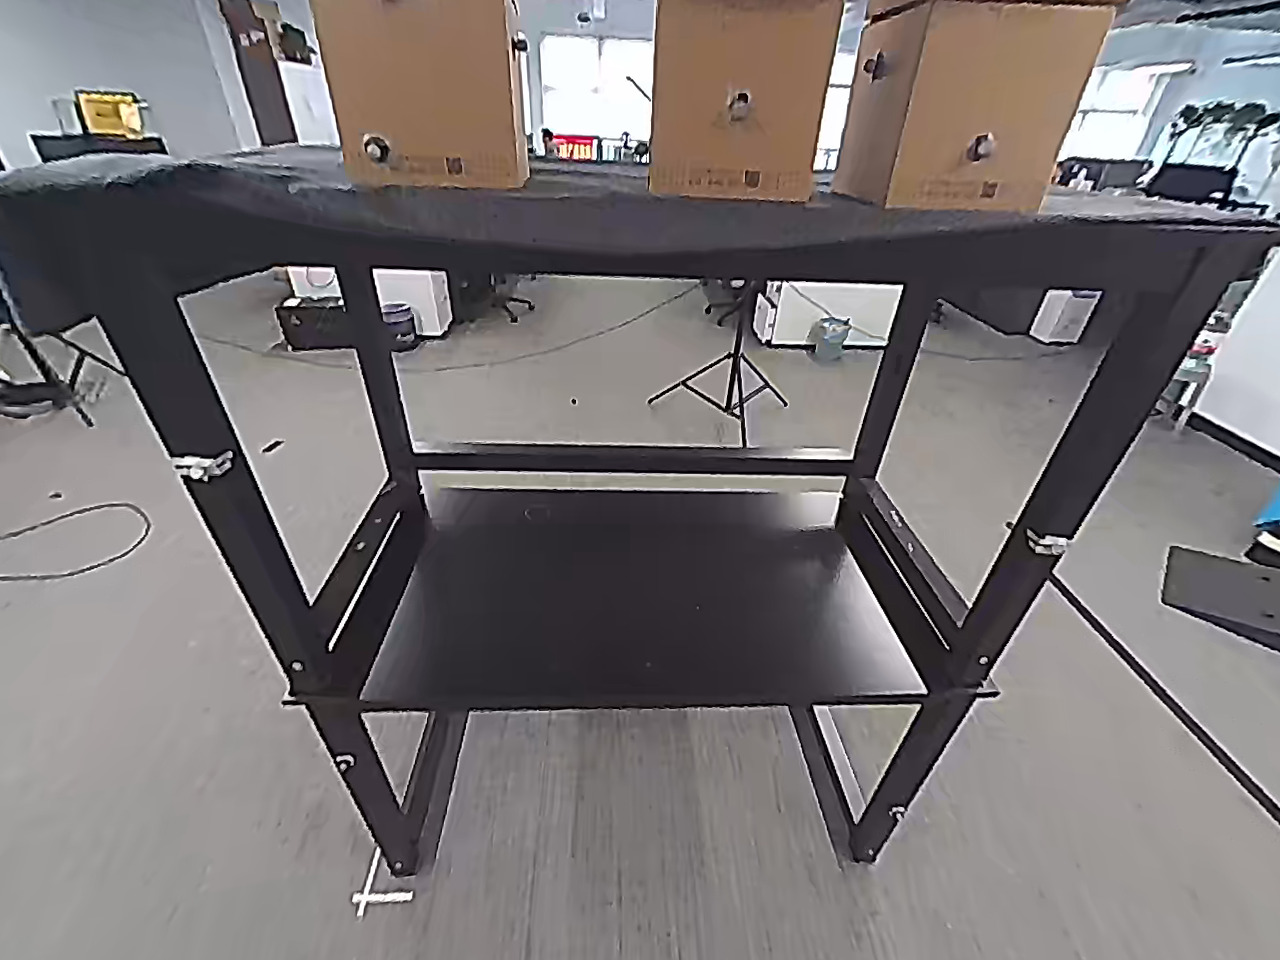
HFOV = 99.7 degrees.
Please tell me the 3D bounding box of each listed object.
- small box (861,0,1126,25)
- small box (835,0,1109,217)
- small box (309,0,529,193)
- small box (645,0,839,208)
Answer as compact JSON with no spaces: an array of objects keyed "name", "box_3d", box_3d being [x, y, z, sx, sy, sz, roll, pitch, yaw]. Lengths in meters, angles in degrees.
[{"name":"small box","box_3d":[0.337,-0.525,0.487,0.179,0.176,0.168,-1,33,-6]},{"name":"small box","box_3d":[0.330,-0.392,0.588,0.168,0.176,0.179,0,33,-2]},{"name":"small box","box_3d":[-0.210,-0.402,0.569,0.168,0.176,0.179,-2,32,-7]},{"name":"small box","box_3d":[0.093,-0.396,0.580,0.168,0.176,0.179,2,33,-1]}]
